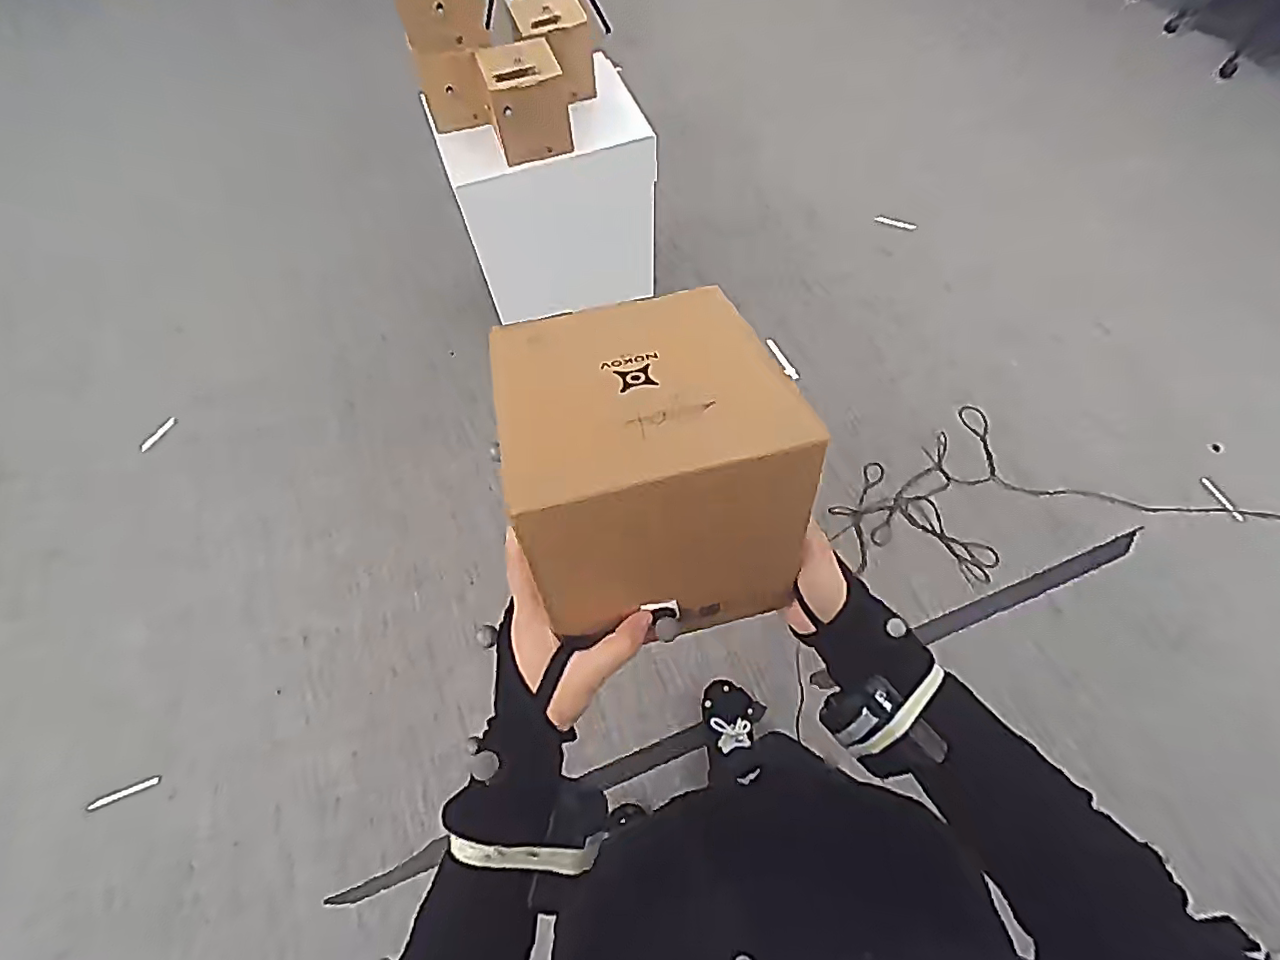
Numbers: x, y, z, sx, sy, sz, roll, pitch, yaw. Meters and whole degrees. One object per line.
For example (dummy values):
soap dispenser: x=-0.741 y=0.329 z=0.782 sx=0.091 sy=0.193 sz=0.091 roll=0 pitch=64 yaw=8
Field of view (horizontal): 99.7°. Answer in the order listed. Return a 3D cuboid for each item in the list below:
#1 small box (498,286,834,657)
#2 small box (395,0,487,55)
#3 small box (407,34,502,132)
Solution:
small box: x=0.005 y=-0.007 z=0.378 sx=0.168 sy=0.176 sz=0.179 roll=-13 pitch=48 yaw=-7
small box: x=-0.446 y=-1.060 z=1.175 sx=0.168 sy=0.176 sz=0.179 roll=-17 pitch=66 yaw=-7
small box: x=-0.447 y=-0.980 z=1.319 sx=0.168 sy=0.176 sz=0.179 roll=-16 pitch=65 yaw=-7
